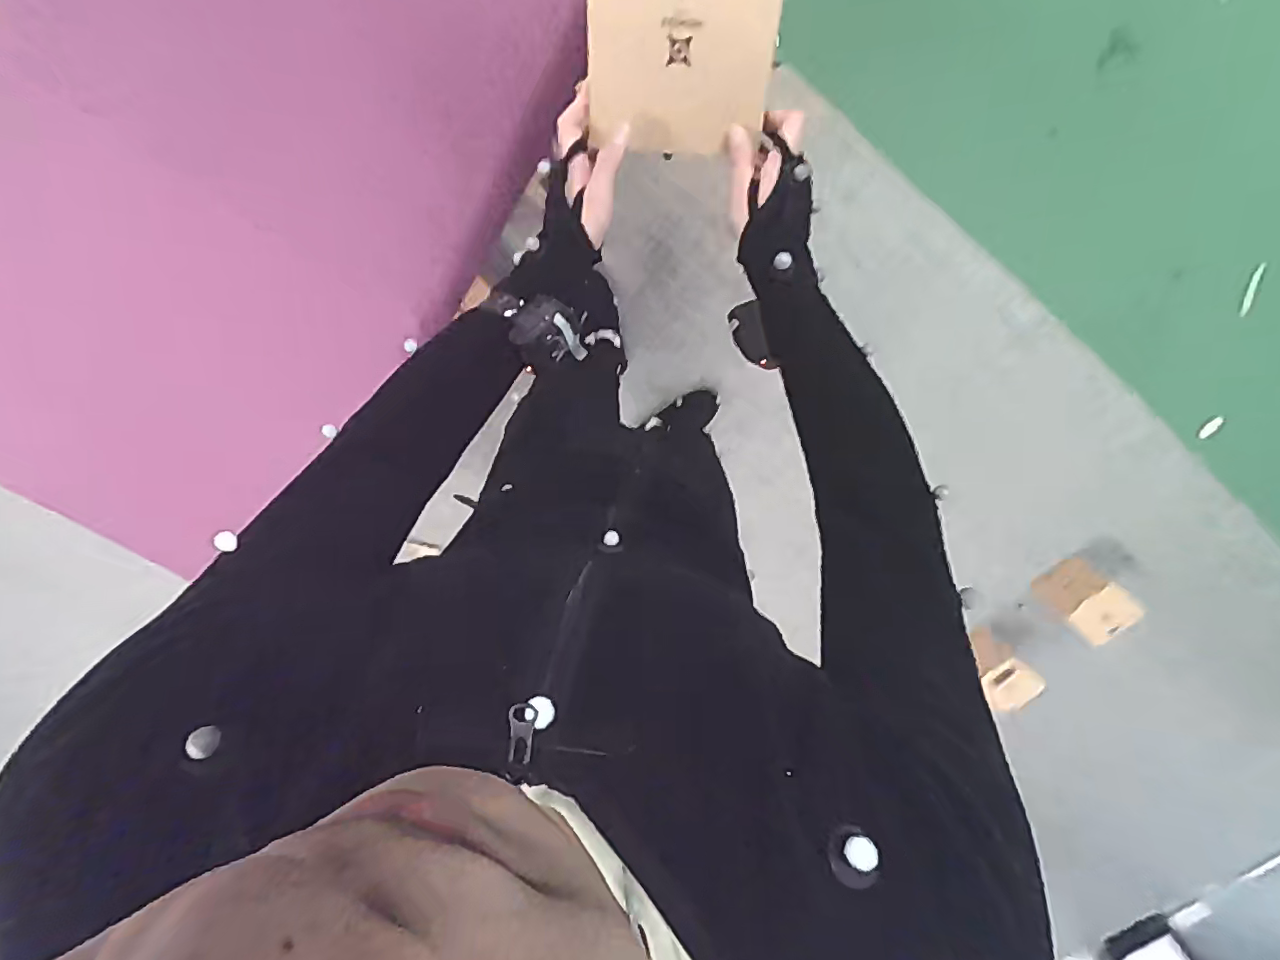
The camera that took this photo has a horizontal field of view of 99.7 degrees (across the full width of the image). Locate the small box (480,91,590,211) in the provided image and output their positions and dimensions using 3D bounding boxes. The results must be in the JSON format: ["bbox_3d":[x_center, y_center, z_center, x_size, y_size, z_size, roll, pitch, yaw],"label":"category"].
[{"bbox_3d":[-0.233,-0.745,1.247,0.179,0.176,0.168,31,110,-9],"label":"small box"}]

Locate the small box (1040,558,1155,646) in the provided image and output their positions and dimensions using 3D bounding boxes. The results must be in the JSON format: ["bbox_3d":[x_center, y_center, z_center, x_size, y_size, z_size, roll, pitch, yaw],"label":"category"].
[{"bbox_3d":[1.384,0.363,1.650,0.179,0.176,0.168,36,110,-12],"label":"small box"}]

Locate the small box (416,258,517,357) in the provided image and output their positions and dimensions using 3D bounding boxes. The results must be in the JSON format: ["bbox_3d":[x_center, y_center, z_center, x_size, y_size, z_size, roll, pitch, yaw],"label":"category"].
[{"bbox_3d":[-0.433,-0.447,1.385,0.168,0.176,0.179,34,111,-11],"label":"small box"}]
